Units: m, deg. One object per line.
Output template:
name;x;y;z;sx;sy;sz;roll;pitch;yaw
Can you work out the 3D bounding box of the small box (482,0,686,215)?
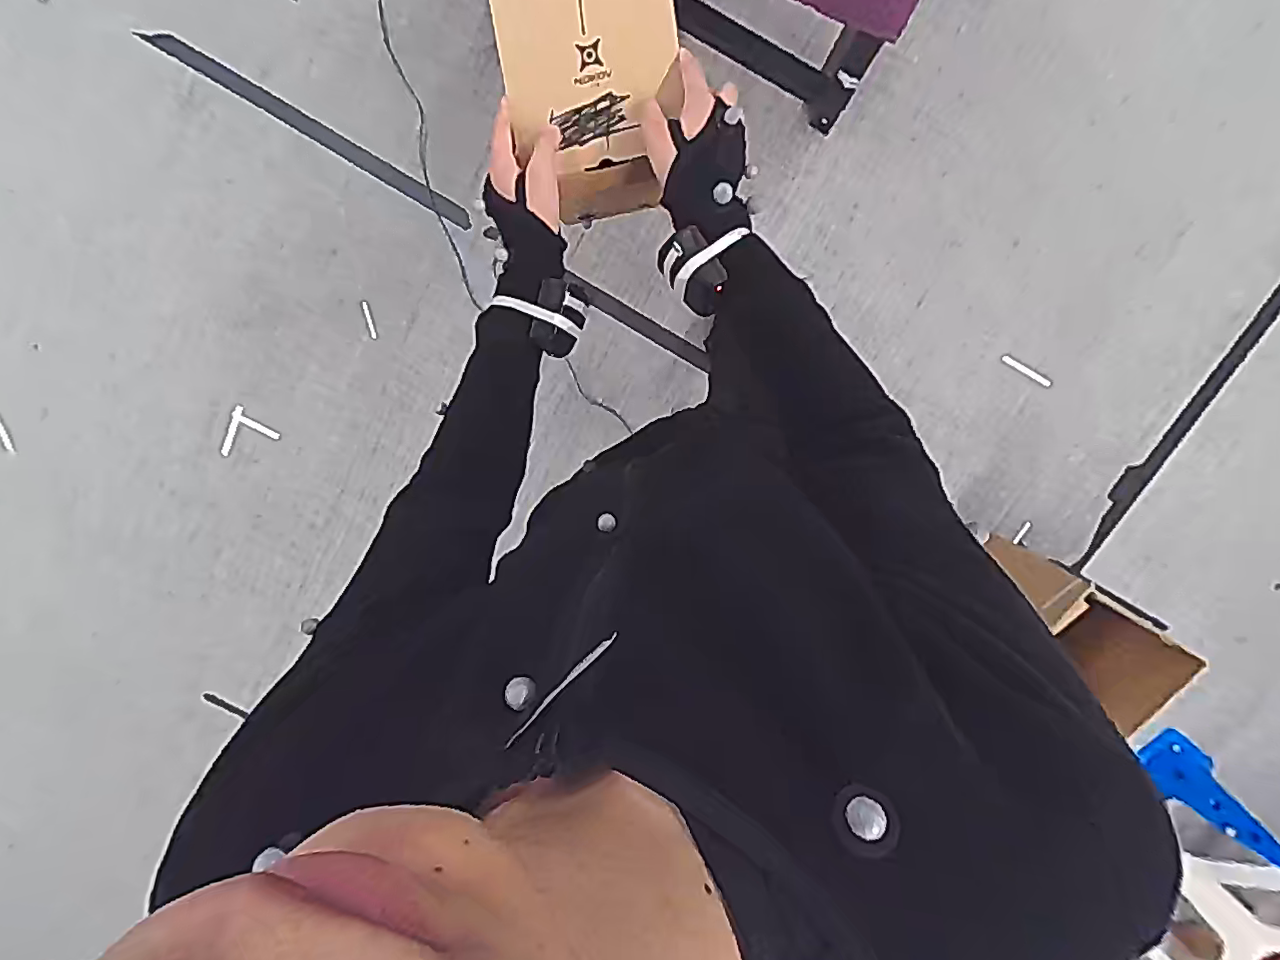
small box;-0.044;-0.399;0.573;0.168;0.176;0.179;-9;101;8
